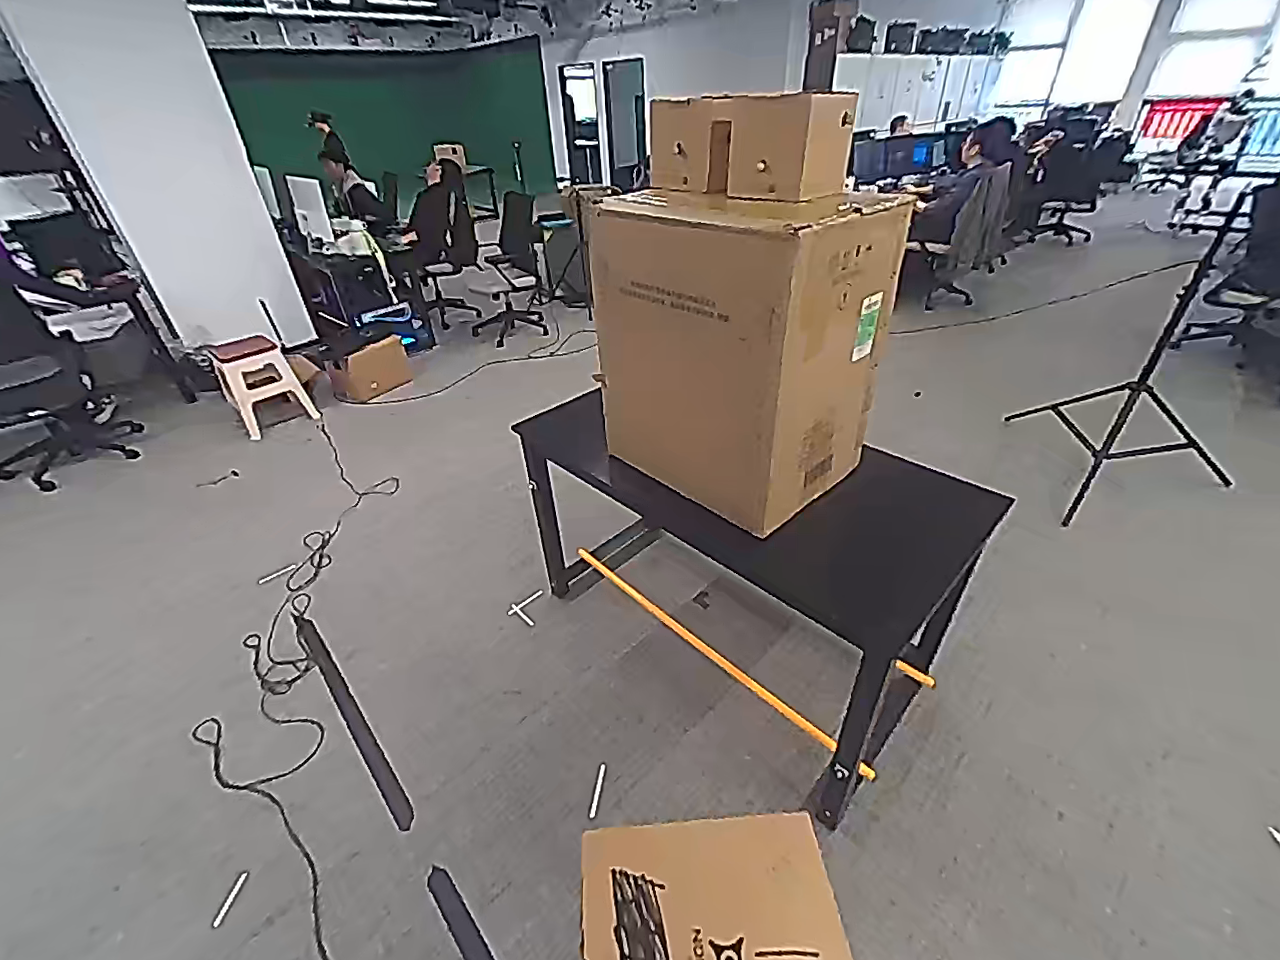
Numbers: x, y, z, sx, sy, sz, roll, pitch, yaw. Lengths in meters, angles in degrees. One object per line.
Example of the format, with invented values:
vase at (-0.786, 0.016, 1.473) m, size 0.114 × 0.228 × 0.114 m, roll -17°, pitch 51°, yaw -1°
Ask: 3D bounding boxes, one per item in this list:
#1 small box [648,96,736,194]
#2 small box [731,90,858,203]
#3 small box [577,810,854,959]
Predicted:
small box at (0.137, -0.732, 1.182) m, size 0.168 × 0.176 × 0.179 m, roll 27°, pitch 44°, yaw 34°
small box at (0.289, -0.641, 1.039) m, size 0.168 × 0.176 × 0.179 m, roll 27°, pitch 43°, yaw 36°
small box at (0.051, 0.368, 0.386) m, size 0.179 × 0.176 × 0.168 m, roll -4°, pitch 35°, yaw -2°
